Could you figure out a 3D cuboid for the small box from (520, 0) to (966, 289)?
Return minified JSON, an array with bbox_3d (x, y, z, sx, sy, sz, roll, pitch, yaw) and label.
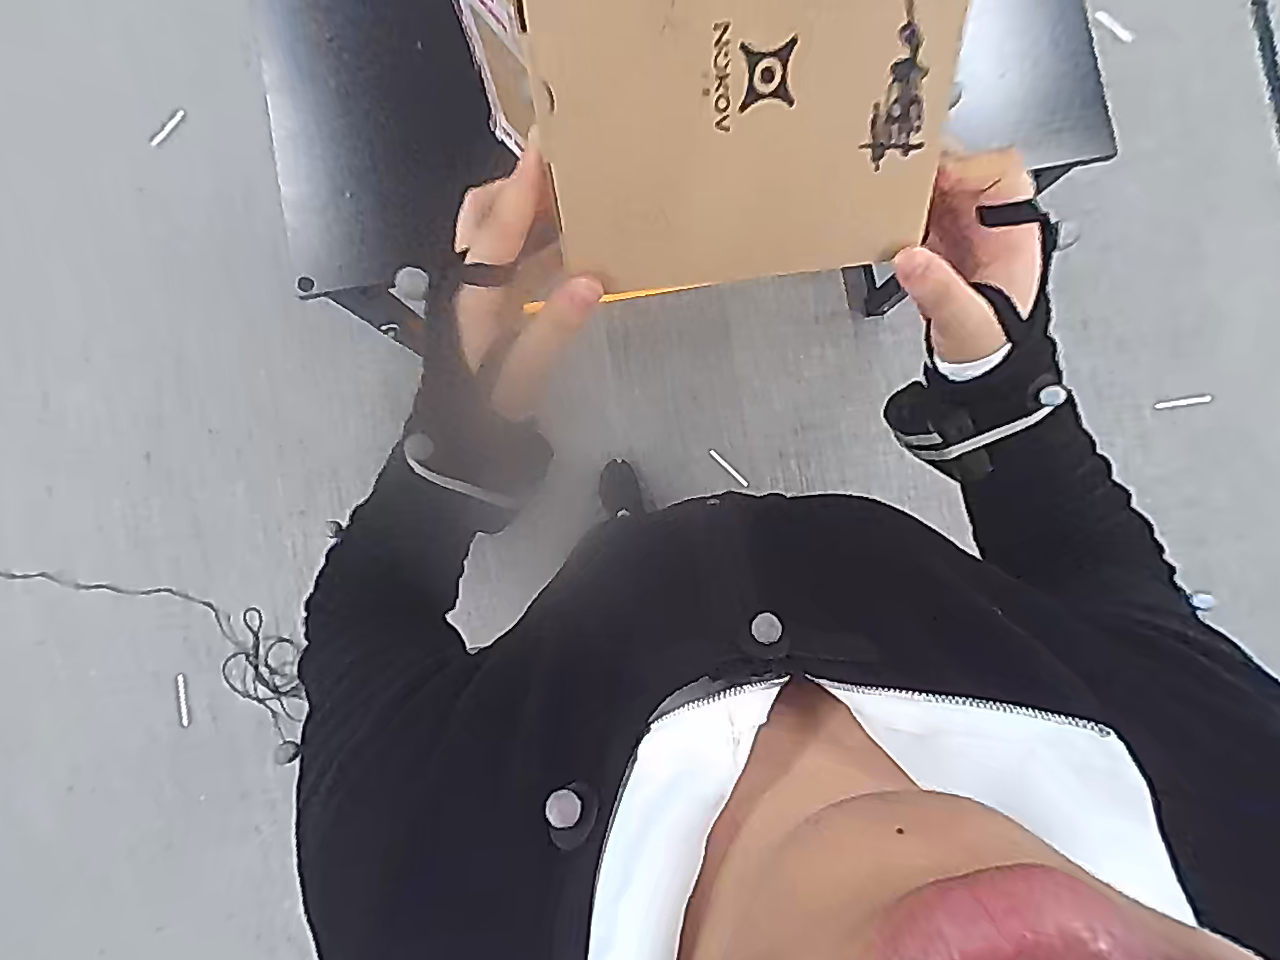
[{"bbox_3d":[0.042,-0.215,0.289,0.179,0.176,0.168,-6,126,2],"label":"small box"}]
